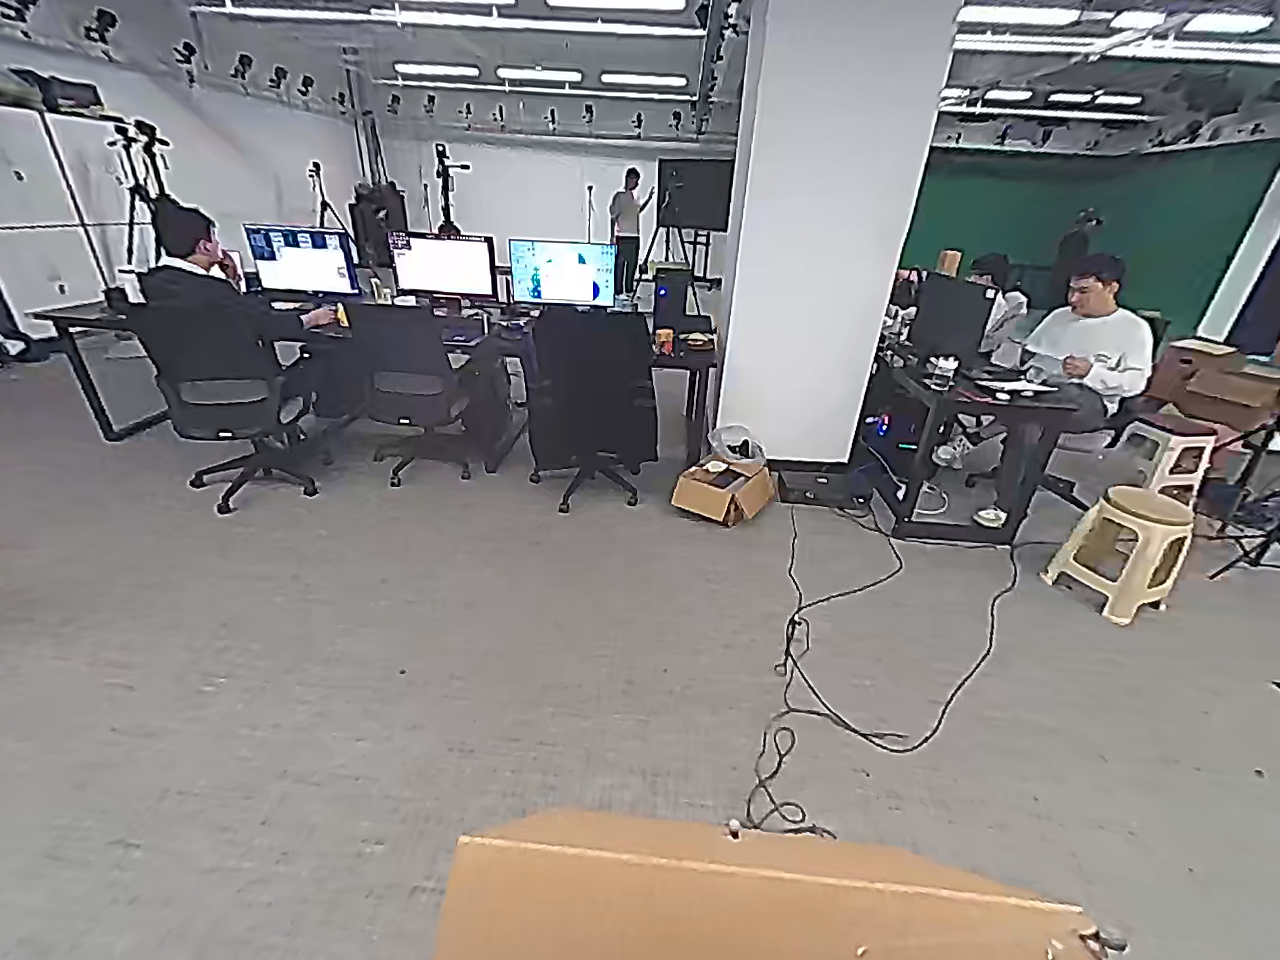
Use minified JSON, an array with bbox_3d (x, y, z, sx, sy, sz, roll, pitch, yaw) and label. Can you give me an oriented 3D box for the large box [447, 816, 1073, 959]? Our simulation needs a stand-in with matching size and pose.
[{"bbox_3d":[0.072,0.467,0.429,0.408,0.320,0.320,2,63,5],"label":"large box"}]
